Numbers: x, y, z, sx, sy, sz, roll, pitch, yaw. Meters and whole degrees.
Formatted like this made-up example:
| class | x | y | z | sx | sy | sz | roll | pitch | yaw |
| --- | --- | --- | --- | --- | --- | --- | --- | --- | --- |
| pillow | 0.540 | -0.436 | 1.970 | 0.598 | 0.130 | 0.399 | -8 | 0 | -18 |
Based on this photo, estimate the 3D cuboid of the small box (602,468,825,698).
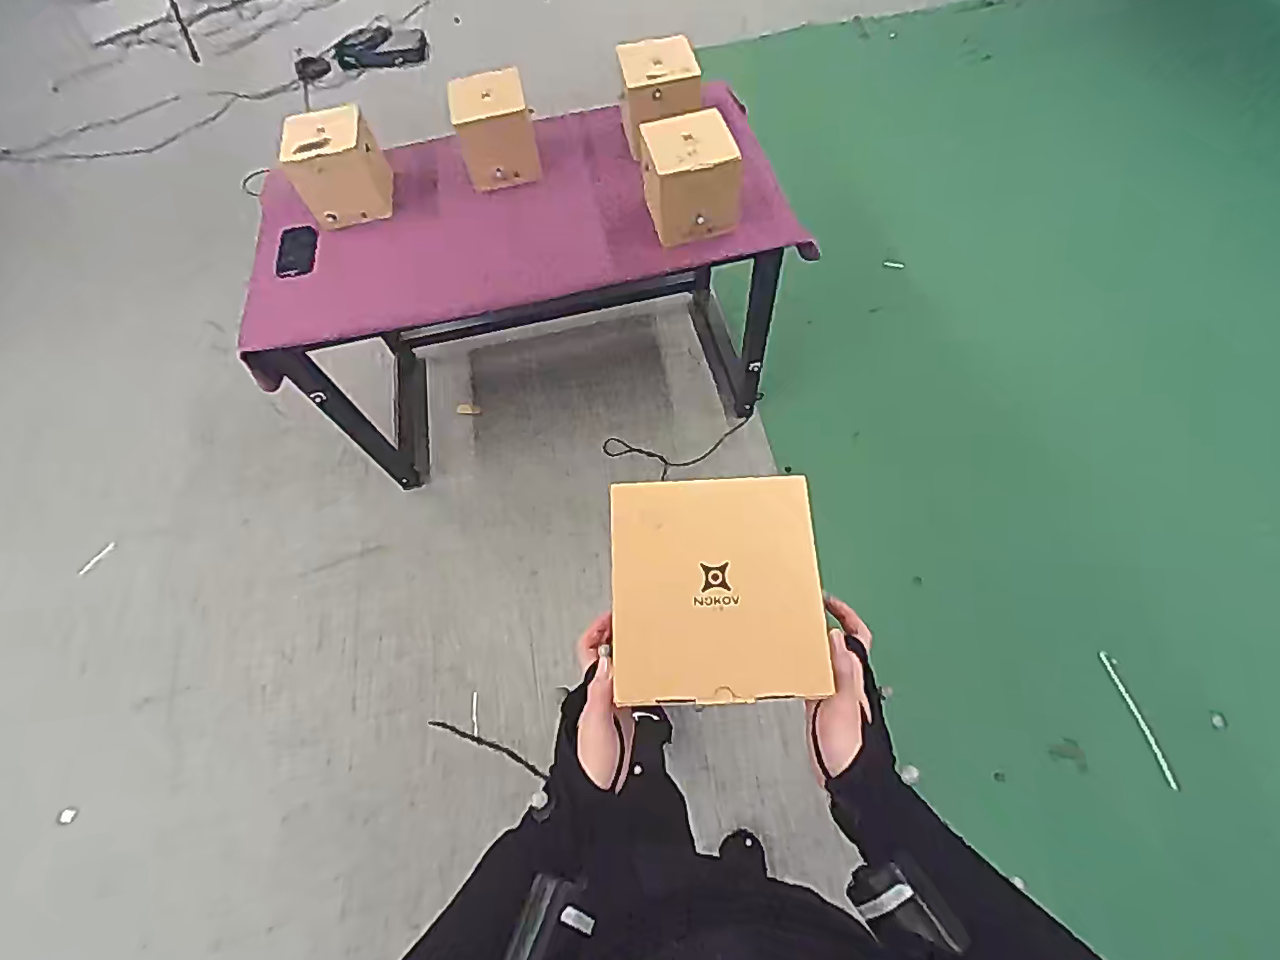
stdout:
| class | x | y | z | sx | sy | sz | roll | pitch | yaw |
| --- | --- | --- | --- | --- | --- | --- | --- | --- | --- |
| small box | 0.053 | 0.101 | 0.496 | 0.168 | 0.176 | 0.179 | -3 | 71 | 1 |

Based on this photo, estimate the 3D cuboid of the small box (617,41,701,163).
| class | x | y | z | sx | sy | sz | roll | pitch | yaw |
| --- | --- | --- | --- | --- | --- | --- | --- | --- | --- |
| small box | 0.044 | -0.891 | 1.280 | 0.168 | 0.176 | 0.179 | -11 | 62 | 0 |

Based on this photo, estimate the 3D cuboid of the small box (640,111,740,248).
| class | x | y | z | sx | sy | sz | roll | pitch | yaw |
| --- | --- | --- | --- | --- | --- | --- | --- | --- | --- |
| small box | 0.101 | -0.624 | 1.133 | 0.168 | 0.176 | 0.179 | -14 | 63 | 0 |

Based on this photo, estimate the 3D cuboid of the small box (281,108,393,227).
| class | x | y | z | sx | sy | sz | roll | pitch | yaw |
| --- | --- | --- | --- | --- | --- | --- | --- | --- | --- |
| small box | -0.688 | -0.710 | 1.248 | 0.168 | 0.176 | 0.179 | -12 | 62 | -2 |

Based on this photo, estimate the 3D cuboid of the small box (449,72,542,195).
| class | x | y | z | sx | sy | sz | roll | pitch | yaw |
| --- | --- | --- | --- | --- | --- | --- | --- | --- | --- |
| small box | -0.337 | -0.810 | 1.272 | 0.168 | 0.176 | 0.179 | -13 | 63 | -1 |
